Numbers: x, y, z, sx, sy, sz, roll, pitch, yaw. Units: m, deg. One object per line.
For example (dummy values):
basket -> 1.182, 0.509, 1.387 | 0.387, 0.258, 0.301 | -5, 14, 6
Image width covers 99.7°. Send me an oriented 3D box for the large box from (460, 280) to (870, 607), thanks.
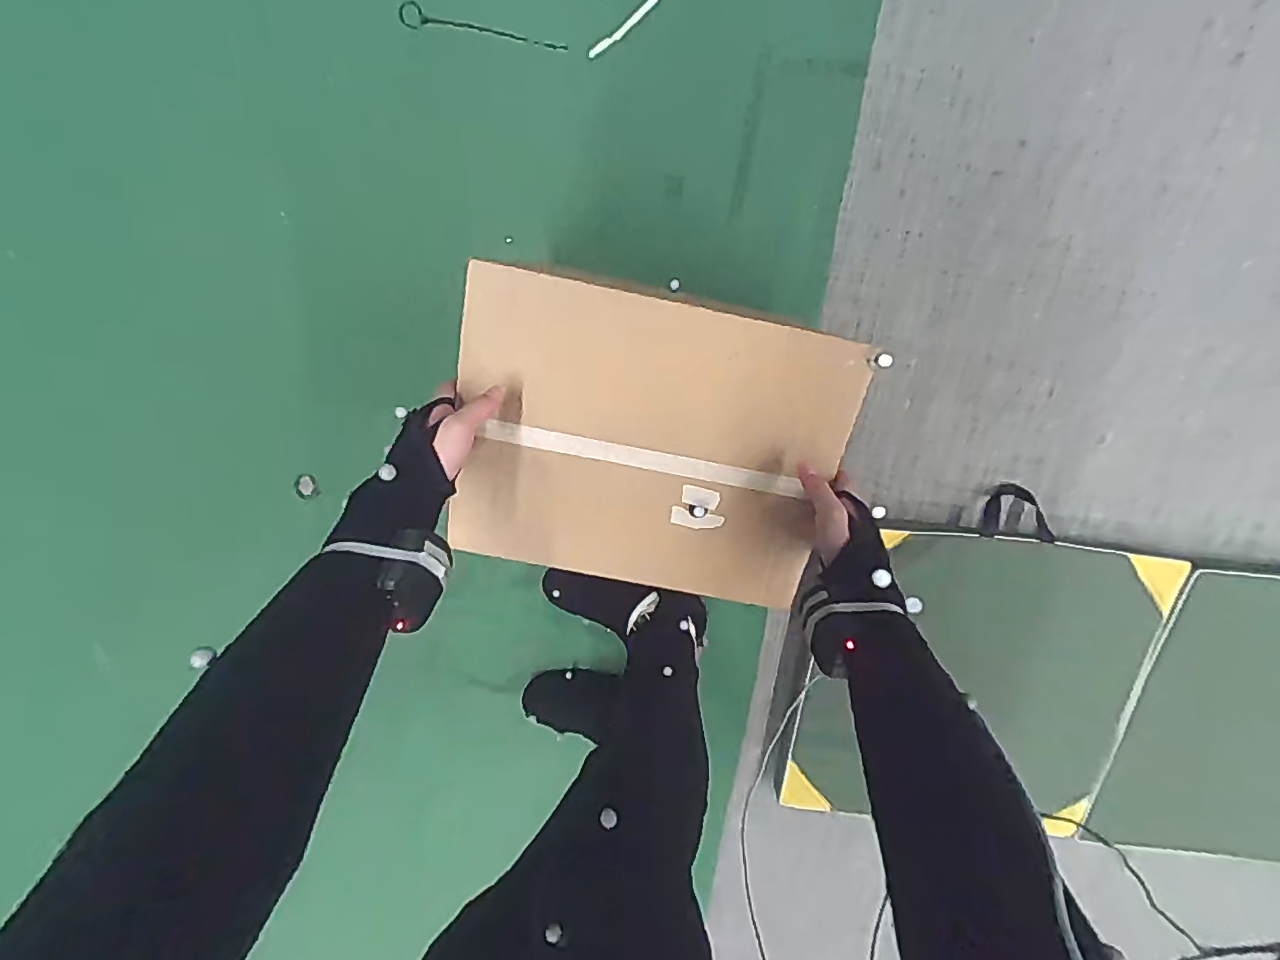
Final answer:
large box -> 0.011, -0.071, 0.727 | 0.408, 0.320, 0.320 | 11, 111, -4
